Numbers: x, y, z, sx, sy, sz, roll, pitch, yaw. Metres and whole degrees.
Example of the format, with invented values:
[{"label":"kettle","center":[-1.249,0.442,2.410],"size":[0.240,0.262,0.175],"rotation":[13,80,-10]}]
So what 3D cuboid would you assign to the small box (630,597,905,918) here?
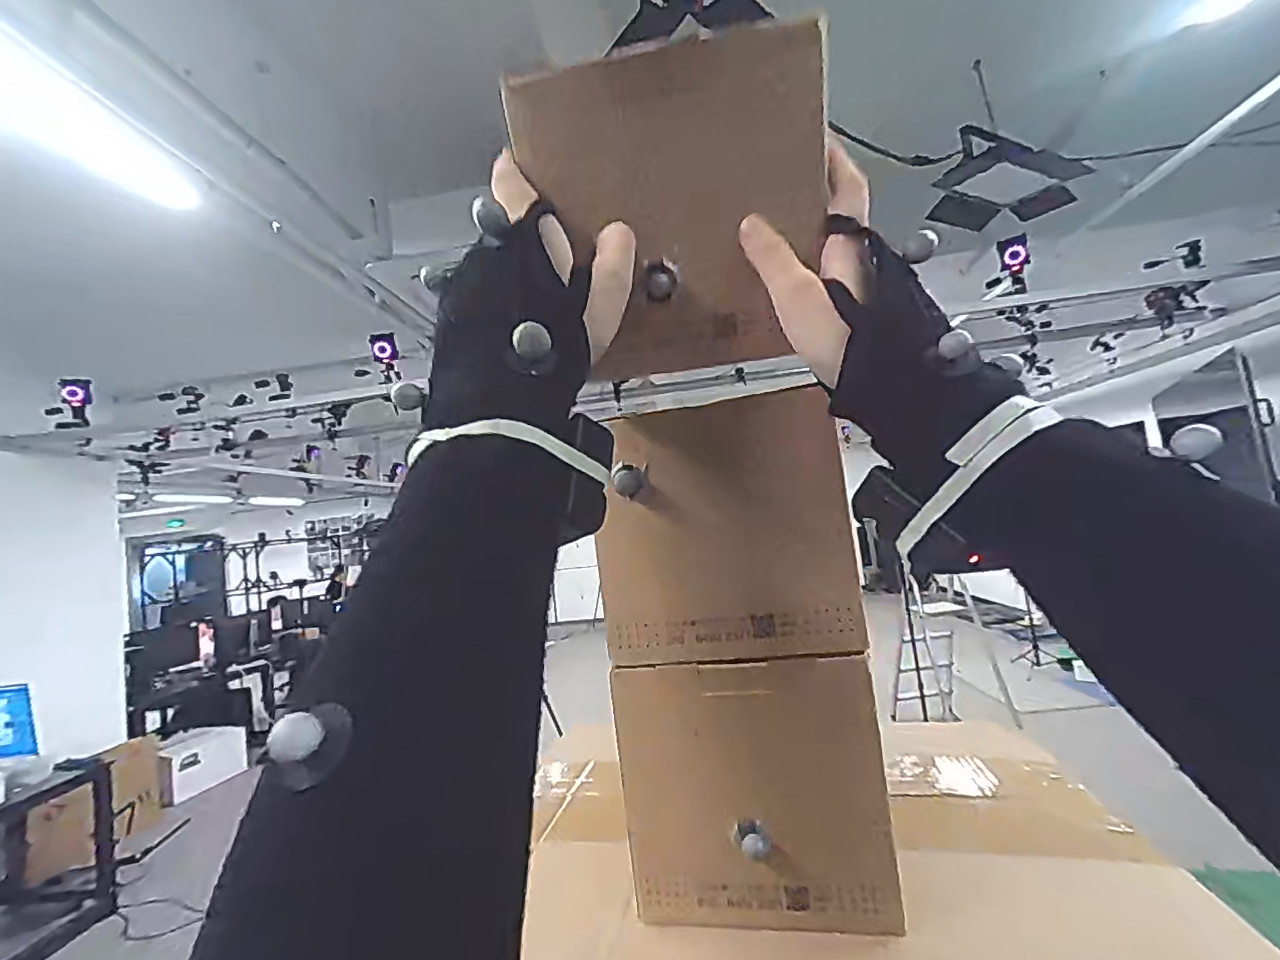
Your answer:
[{"label":"small box","center":[0.097,0.197,0.433],"size":[0.168,0.176,0.179],"rotation":[-7,-3,12]}]

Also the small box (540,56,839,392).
[{"label":"small box","center":[0.039,-0.167,0.398],"size":[0.168,0.176,0.179],"rotation":[-7,21,5]}]
